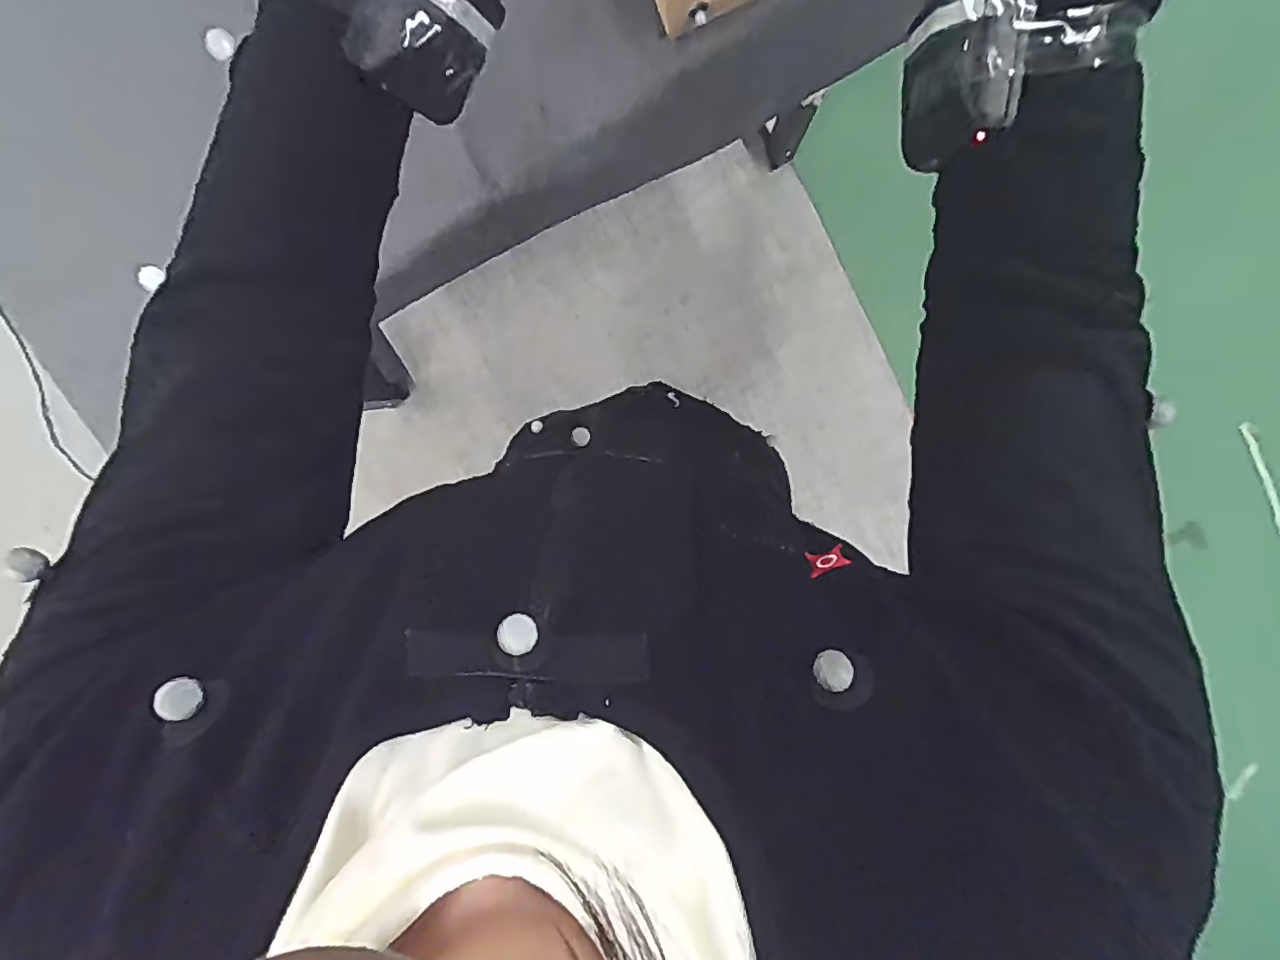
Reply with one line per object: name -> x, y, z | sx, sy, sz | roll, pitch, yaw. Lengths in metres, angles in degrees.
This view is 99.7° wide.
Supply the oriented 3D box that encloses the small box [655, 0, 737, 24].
small box -> 0.070, -0.582, 0.503 | 0.168, 0.176, 0.179 | -21, 97, 8
